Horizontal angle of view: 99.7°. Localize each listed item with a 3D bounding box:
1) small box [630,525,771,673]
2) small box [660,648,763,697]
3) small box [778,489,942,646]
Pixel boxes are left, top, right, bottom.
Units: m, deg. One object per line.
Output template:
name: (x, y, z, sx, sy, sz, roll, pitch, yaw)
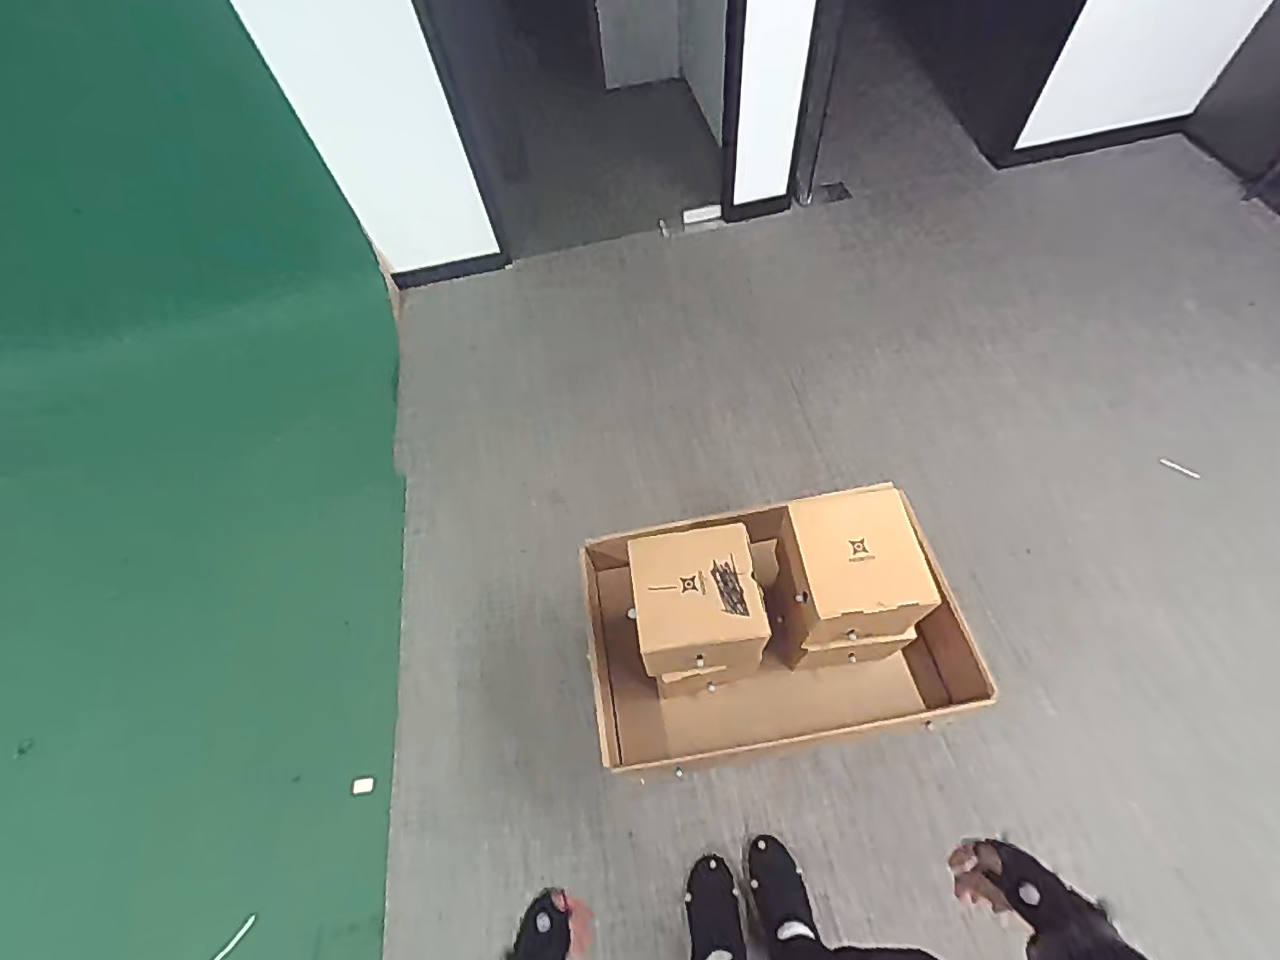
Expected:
small box: (0.085, 0.184, 0.816, 0.179, 0.176, 0.168, -8, 59, 1)
small box: (0.104, 0.266, 0.957, 0.168, 0.176, 0.179, -13, 60, -2)
small box: (0.316, 0.137, 0.823, 0.168, 0.176, 0.179, -8, 59, 2)
